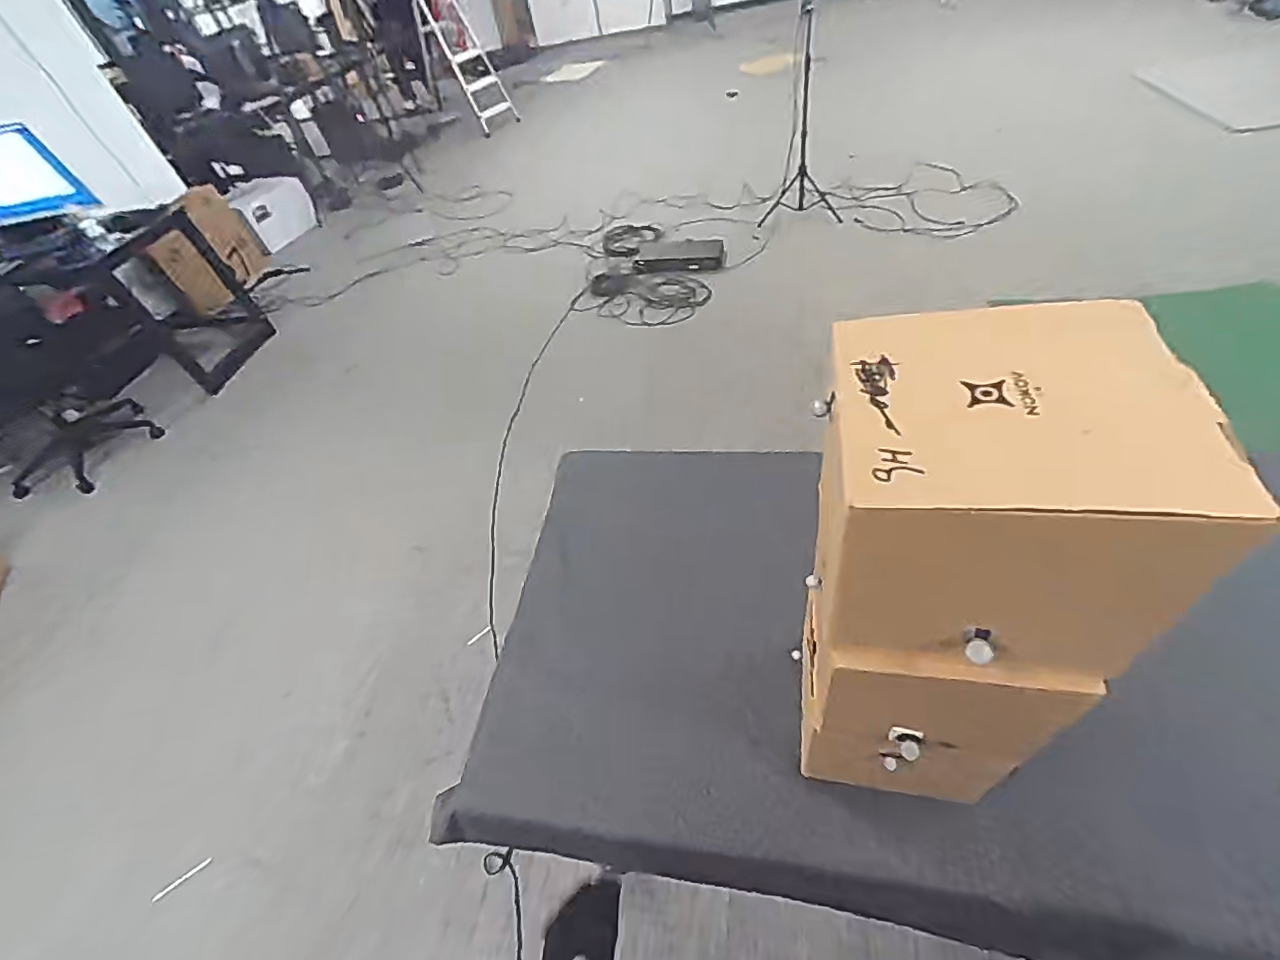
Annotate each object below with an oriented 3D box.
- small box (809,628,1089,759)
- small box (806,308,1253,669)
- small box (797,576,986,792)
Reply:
[{"bbox_3d":[0.237,0.119,0.473,0.168,0.176,0.179,0,50,16],"label":"small box"},{"bbox_3d":[0.206,0.009,0.356,0.179,0.176,0.168,1,50,16],"label":"small box"},{"bbox_3d":[0.266,0.223,0.593,0.179,0.176,0.168,3,50,15],"label":"small box"}]
